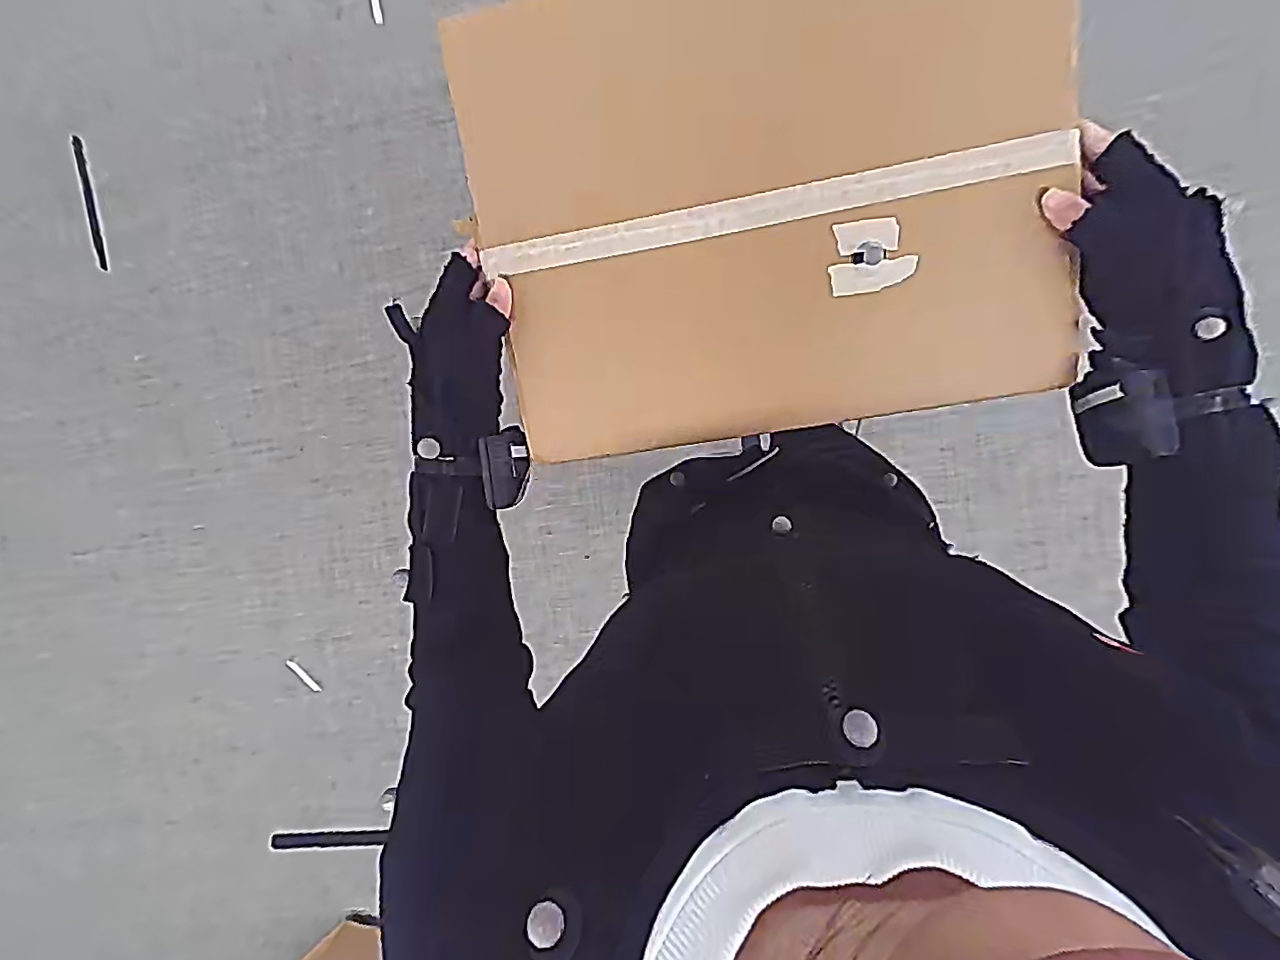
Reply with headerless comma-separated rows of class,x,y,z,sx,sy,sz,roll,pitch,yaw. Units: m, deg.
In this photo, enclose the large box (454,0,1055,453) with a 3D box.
large box,0.096,-0.233,0.536,0.408,0.320,0.320,-9,103,6
